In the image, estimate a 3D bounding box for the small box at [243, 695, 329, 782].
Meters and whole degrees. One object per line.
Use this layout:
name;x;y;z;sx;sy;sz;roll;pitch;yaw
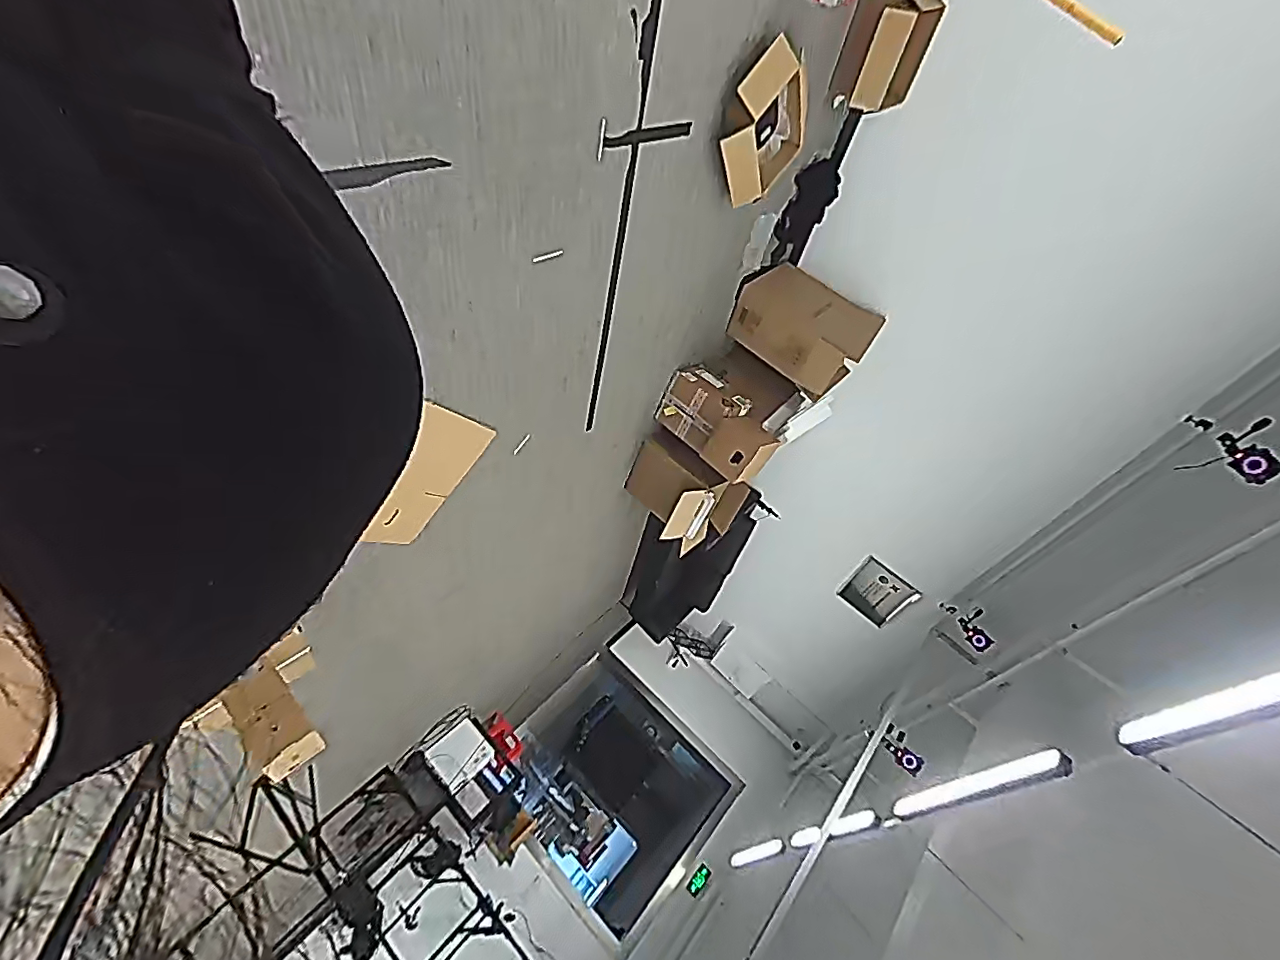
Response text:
small box;-1.163;0.843;1.779;0.168;0.176;0.179;-34;153;-37

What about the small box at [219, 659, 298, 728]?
small box;-1.280;0.738;1.827;0.168;0.176;0.179;-33;154;-40
